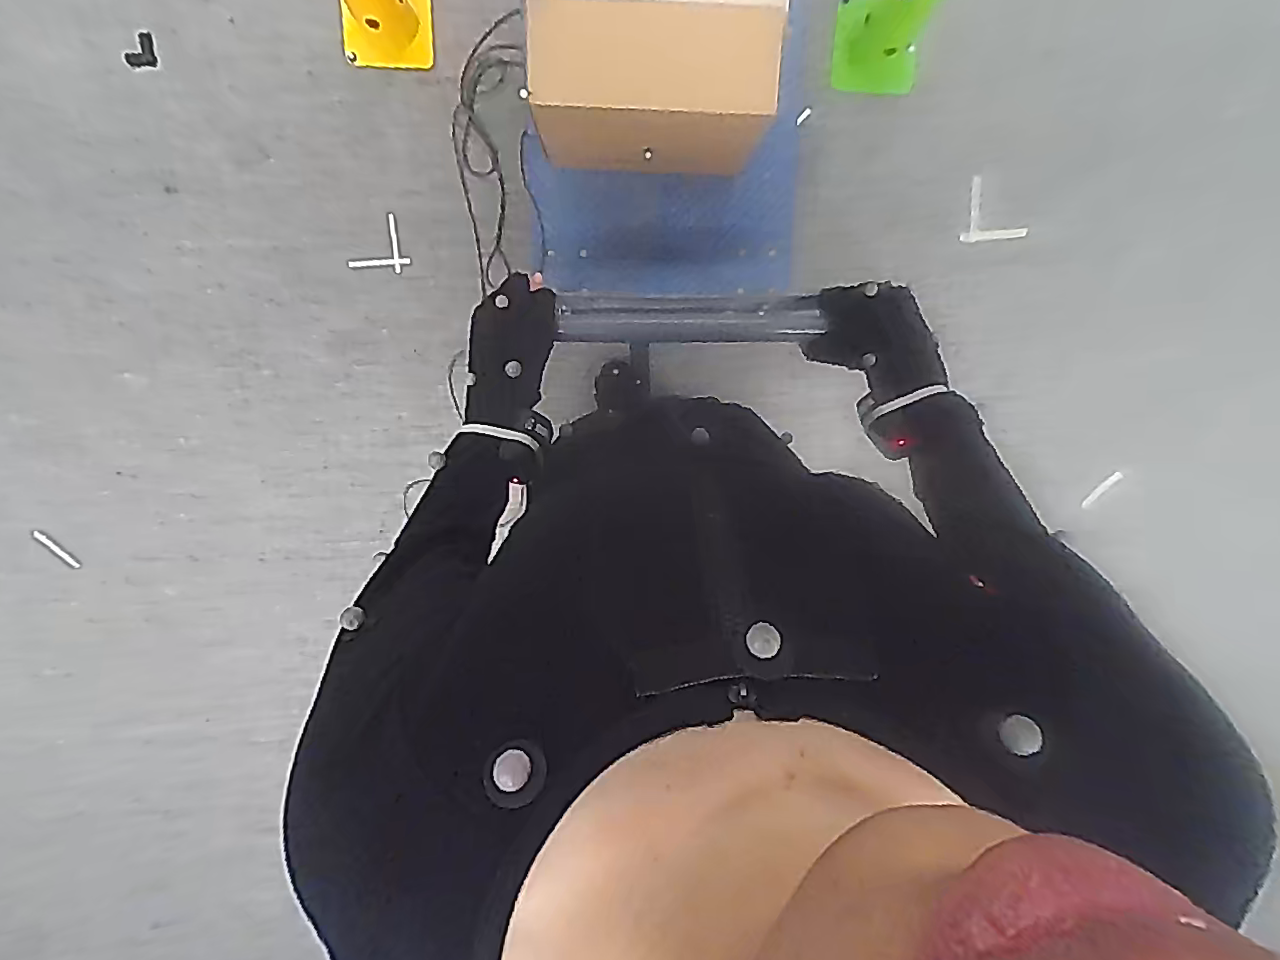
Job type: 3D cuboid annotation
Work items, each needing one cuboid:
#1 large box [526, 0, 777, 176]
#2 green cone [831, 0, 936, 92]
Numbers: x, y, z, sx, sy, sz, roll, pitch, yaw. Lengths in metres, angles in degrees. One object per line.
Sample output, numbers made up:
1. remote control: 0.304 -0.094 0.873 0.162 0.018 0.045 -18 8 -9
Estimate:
1. large box: 0.018 -0.775 0.996 0.408 0.320 0.320 1 102 -1
2. green cone: 0.564 -0.999 1.112 0.202 0.368 0.200 1 102 -3
